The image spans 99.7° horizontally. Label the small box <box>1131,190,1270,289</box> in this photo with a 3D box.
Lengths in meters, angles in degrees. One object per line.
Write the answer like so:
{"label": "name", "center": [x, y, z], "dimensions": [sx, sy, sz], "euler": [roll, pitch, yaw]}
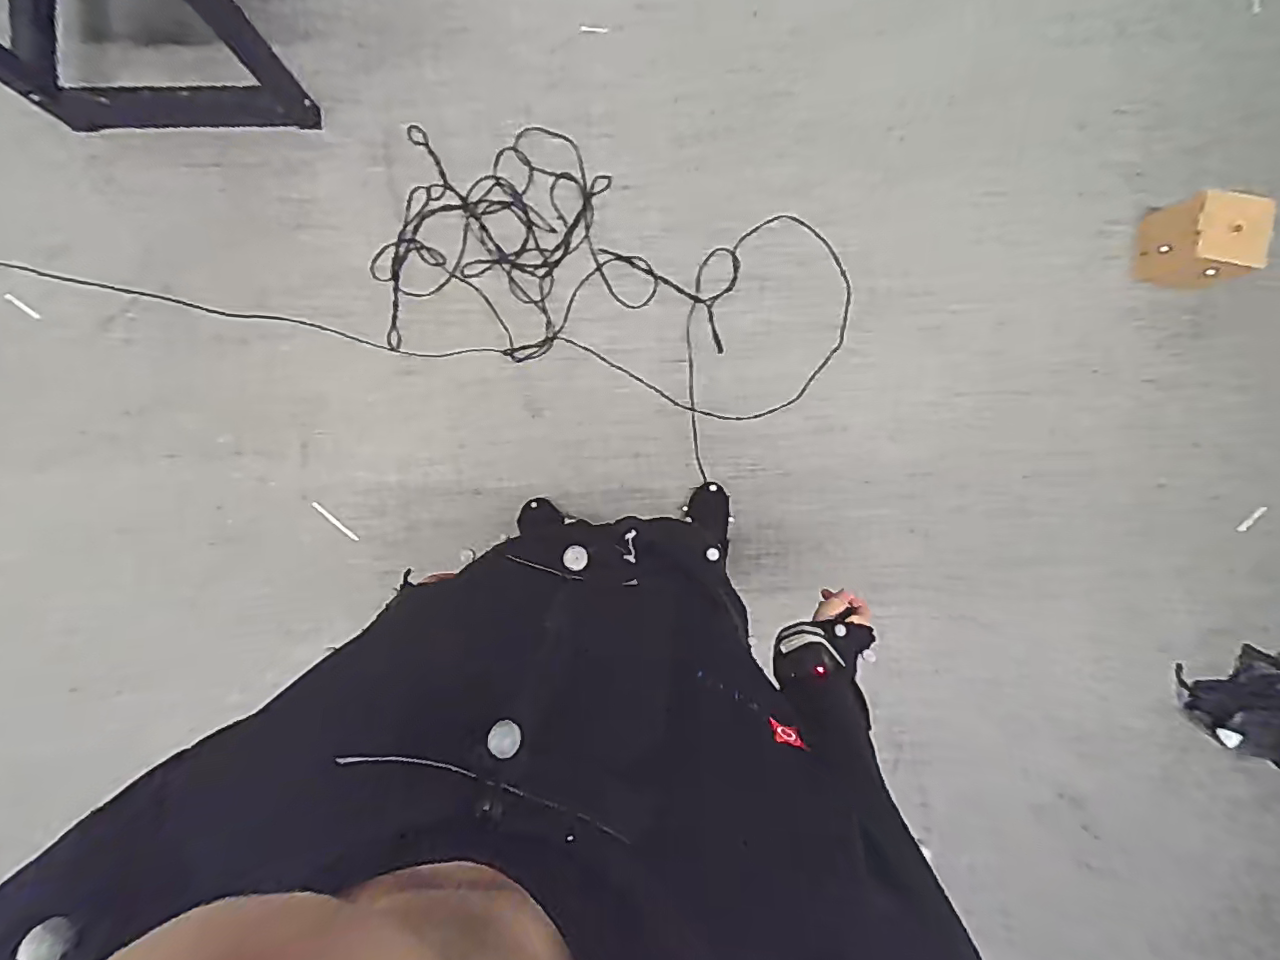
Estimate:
{"label": "small box", "center": [1.403, -0.598, 1.365], "dimensions": [0.179, 0.176, 0.168], "euler": [8, 91, -4]}
